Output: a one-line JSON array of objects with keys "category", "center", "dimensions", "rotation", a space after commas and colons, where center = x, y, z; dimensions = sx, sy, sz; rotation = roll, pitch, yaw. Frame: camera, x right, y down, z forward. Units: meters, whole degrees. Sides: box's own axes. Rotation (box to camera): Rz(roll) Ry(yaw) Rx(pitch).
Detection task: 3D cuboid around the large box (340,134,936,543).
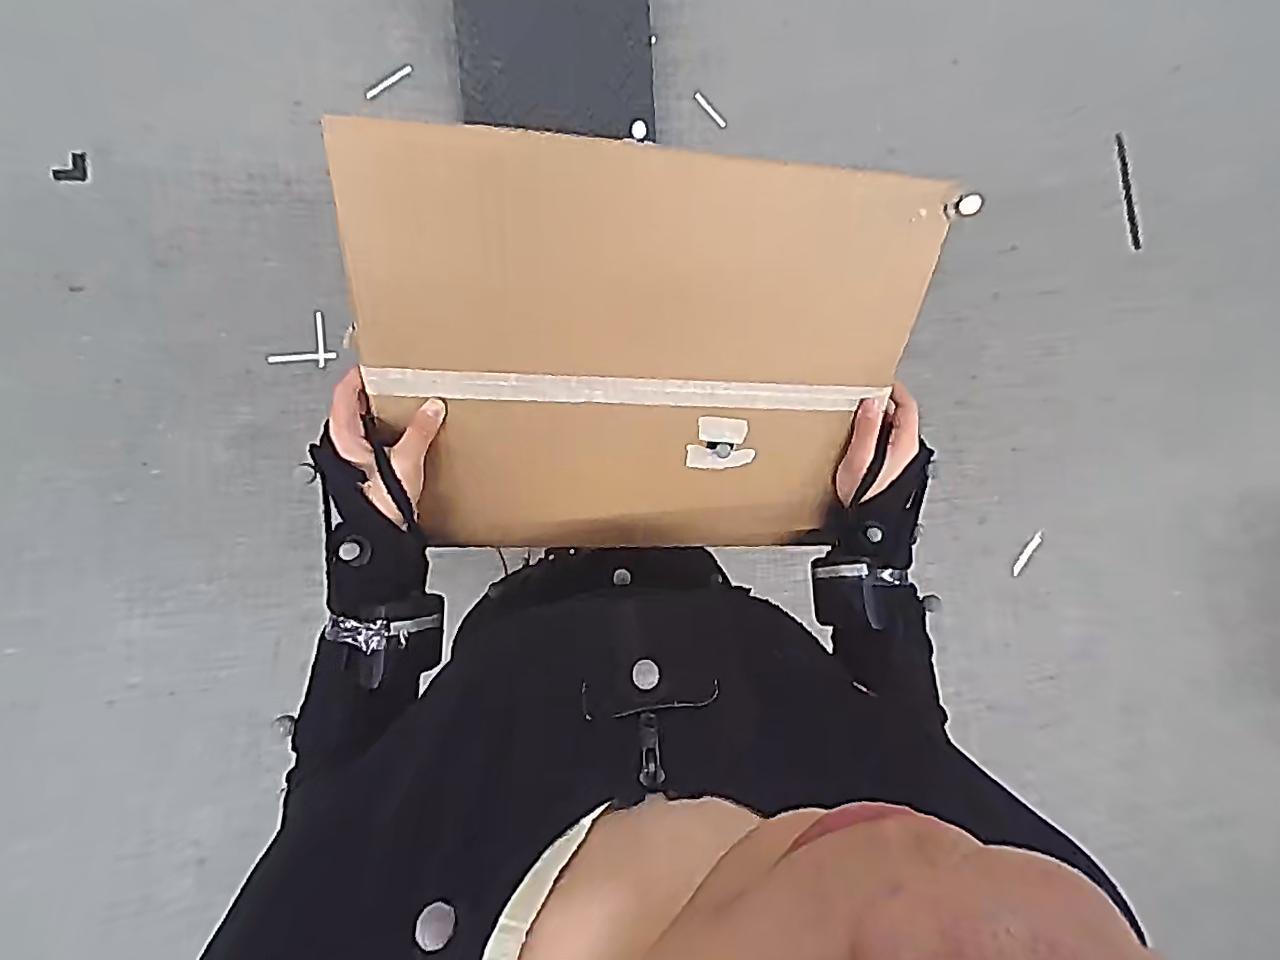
[{"category": "large box", "center": [-0.018, -0.157, 0.552], "dimensions": [0.408, 0.320, 0.320], "rotation": [-1, 124, -10]}]
